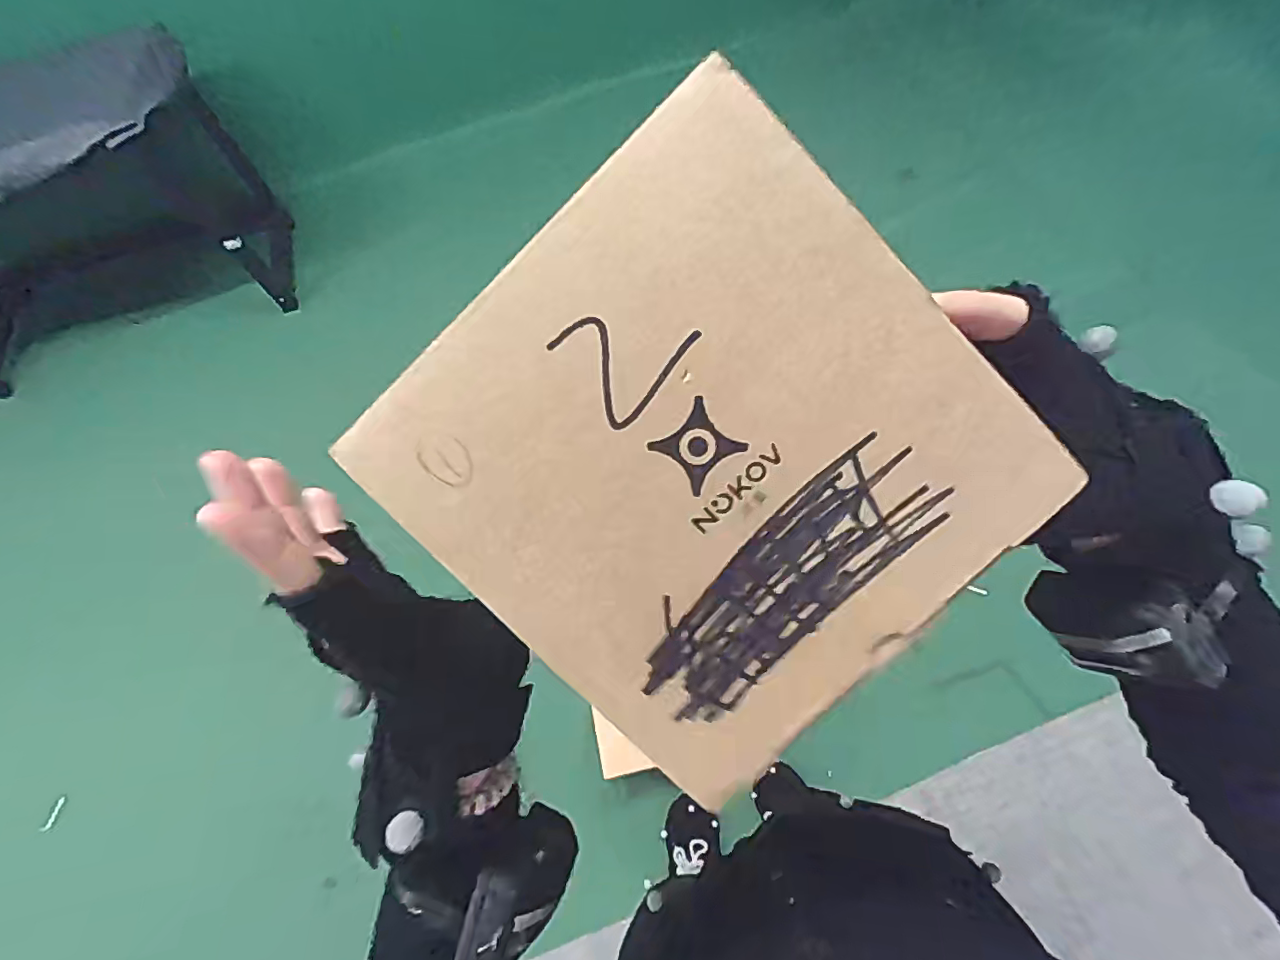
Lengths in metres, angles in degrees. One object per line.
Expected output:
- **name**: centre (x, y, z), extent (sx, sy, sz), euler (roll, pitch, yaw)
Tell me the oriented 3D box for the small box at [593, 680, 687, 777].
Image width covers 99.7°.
- **small box**: centre (0.004, 0.575, 1.243), extent (0.179, 0.176, 0.168), euler (-14, 61, -1)
